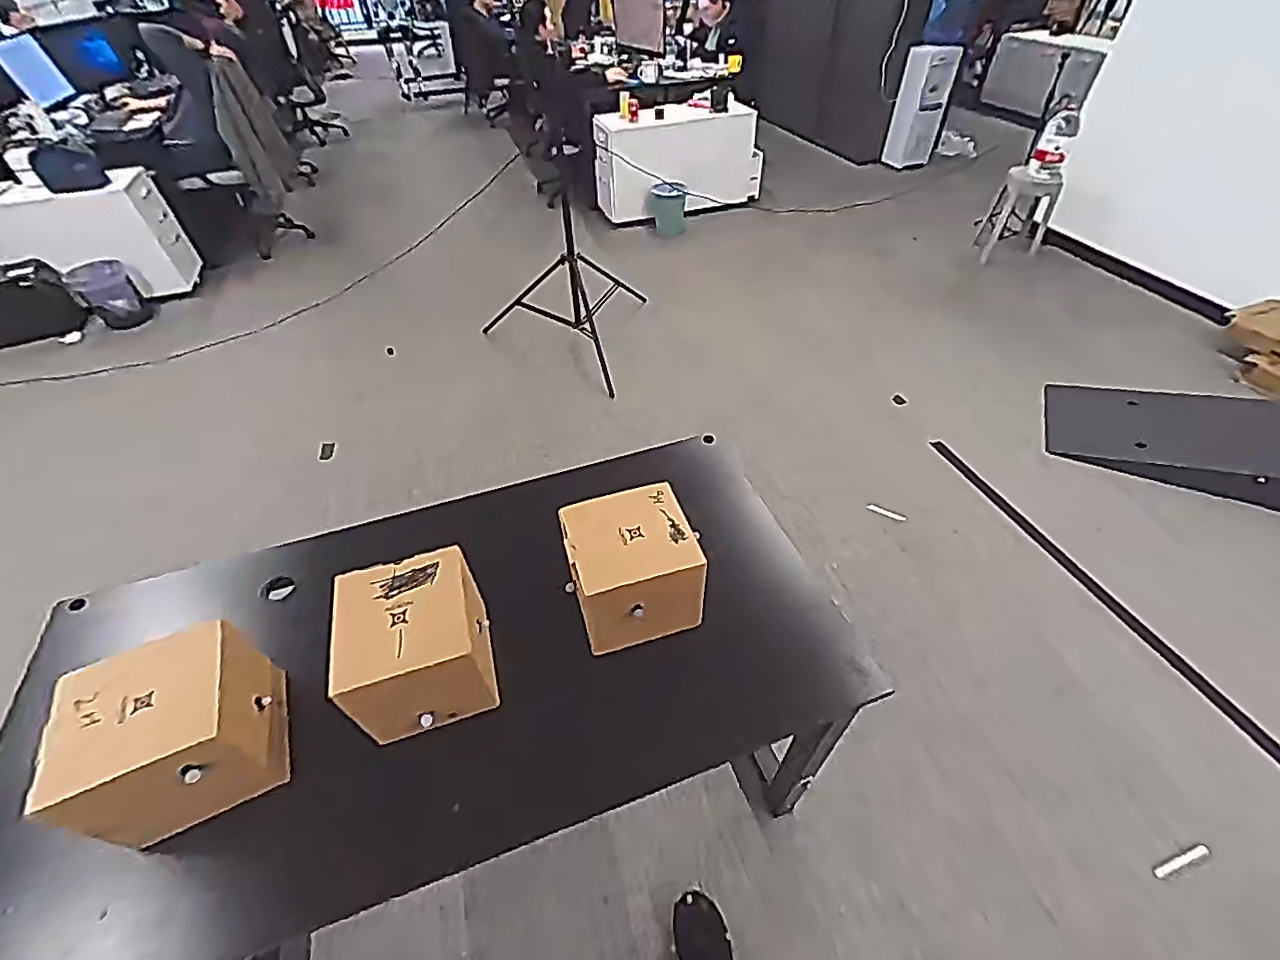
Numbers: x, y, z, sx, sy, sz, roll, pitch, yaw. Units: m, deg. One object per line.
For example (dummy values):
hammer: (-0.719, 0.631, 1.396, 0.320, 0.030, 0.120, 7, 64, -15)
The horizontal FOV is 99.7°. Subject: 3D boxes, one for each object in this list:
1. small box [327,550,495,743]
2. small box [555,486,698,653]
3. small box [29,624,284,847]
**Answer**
small box: (-0.309, 0.232, 0.754, 0.168, 0.176, 0.179, -15, 48, -12)
small box: (-0.019, 0.141, 0.832, 0.179, 0.176, 0.168, -14, 47, -10)
small box: (-0.575, 0.319, 0.678, 0.179, 0.176, 0.168, -21, 49, -17)
